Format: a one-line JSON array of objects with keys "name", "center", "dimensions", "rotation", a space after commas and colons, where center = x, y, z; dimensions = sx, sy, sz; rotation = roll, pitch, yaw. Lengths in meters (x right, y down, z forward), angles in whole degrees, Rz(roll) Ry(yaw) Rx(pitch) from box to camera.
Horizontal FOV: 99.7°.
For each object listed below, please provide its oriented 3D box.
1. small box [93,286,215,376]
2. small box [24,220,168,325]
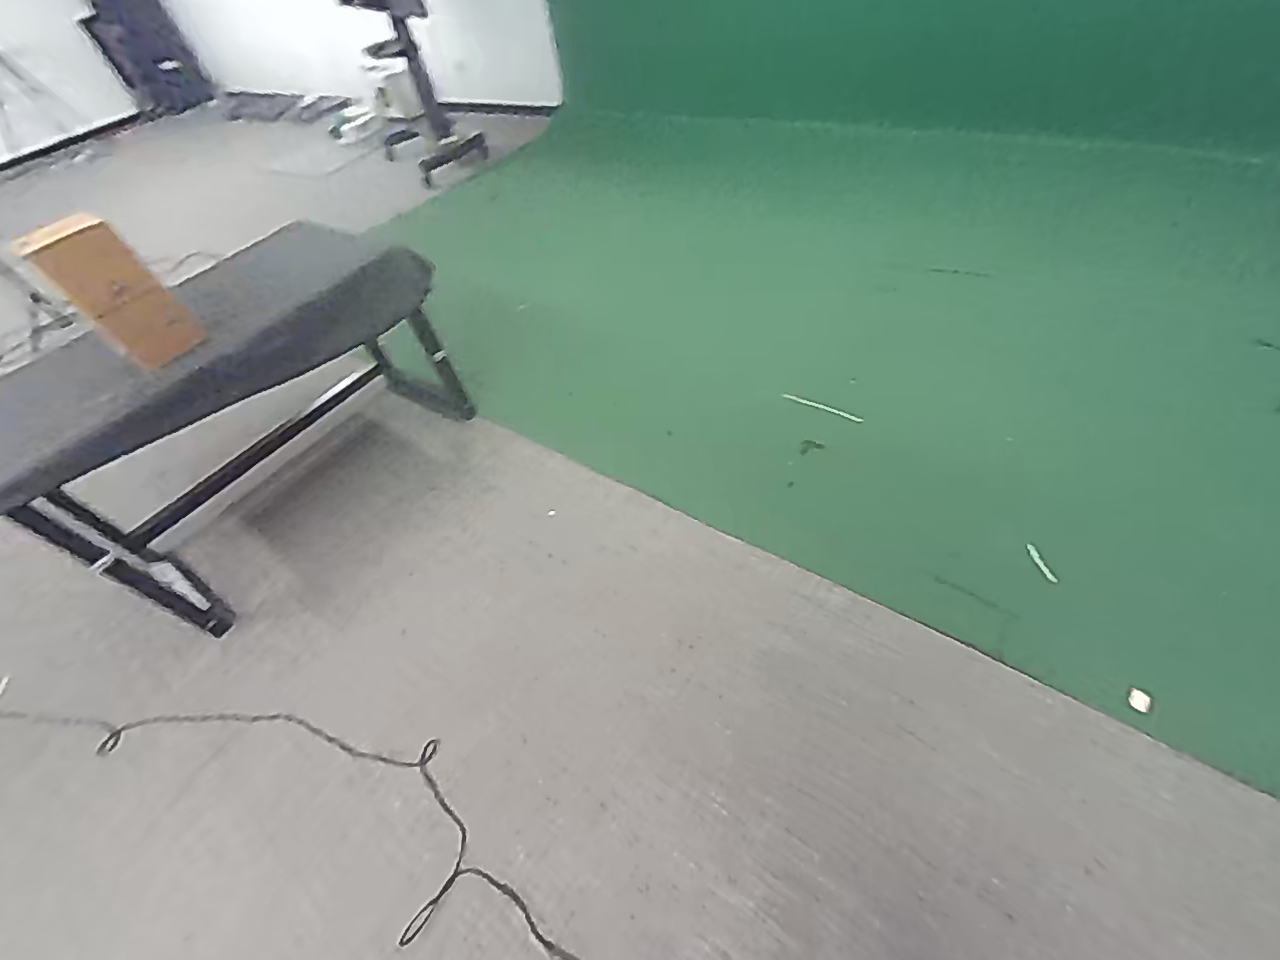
[{"name": "small box", "center": [-1.306, -0.411, 1.464], "dimensions": [0.168, 0.176, 0.179], "rotation": [22, 59, 30]}, {"name": "small box", "center": [-1.335, -0.516, 1.344], "dimensions": [0.168, 0.176, 0.179], "rotation": [22, 58, 27]}]
